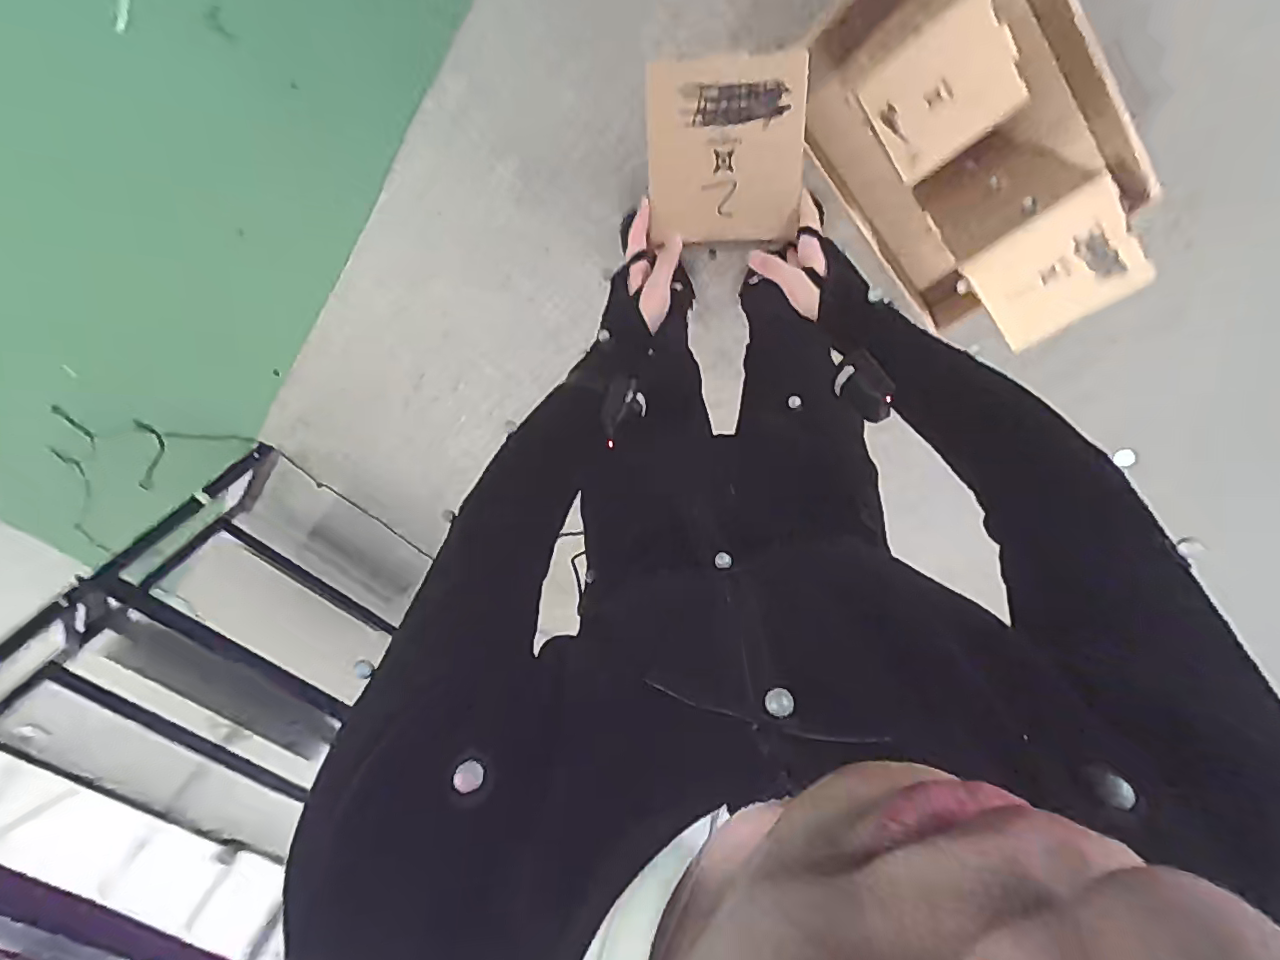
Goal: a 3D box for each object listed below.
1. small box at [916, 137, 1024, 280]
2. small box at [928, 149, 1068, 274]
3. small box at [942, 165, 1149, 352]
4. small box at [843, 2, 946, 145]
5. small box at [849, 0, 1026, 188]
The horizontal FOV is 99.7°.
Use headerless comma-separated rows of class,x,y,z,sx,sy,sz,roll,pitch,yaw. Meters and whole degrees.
small box,0.663,-0.529,1.055,0.168,0.176,0.179,43,126,-19
small box,0.628,-0.432,0.928,0.179,0.176,0.168,-31,113,34
small box,0.587,-0.332,0.805,0.179,0.176,0.168,-32,112,34
small box,0.483,-0.697,0.966,0.168,0.176,0.179,41,128,-20
small box,0.447,-0.597,0.839,0.179,0.176,0.168,-29,116,32
